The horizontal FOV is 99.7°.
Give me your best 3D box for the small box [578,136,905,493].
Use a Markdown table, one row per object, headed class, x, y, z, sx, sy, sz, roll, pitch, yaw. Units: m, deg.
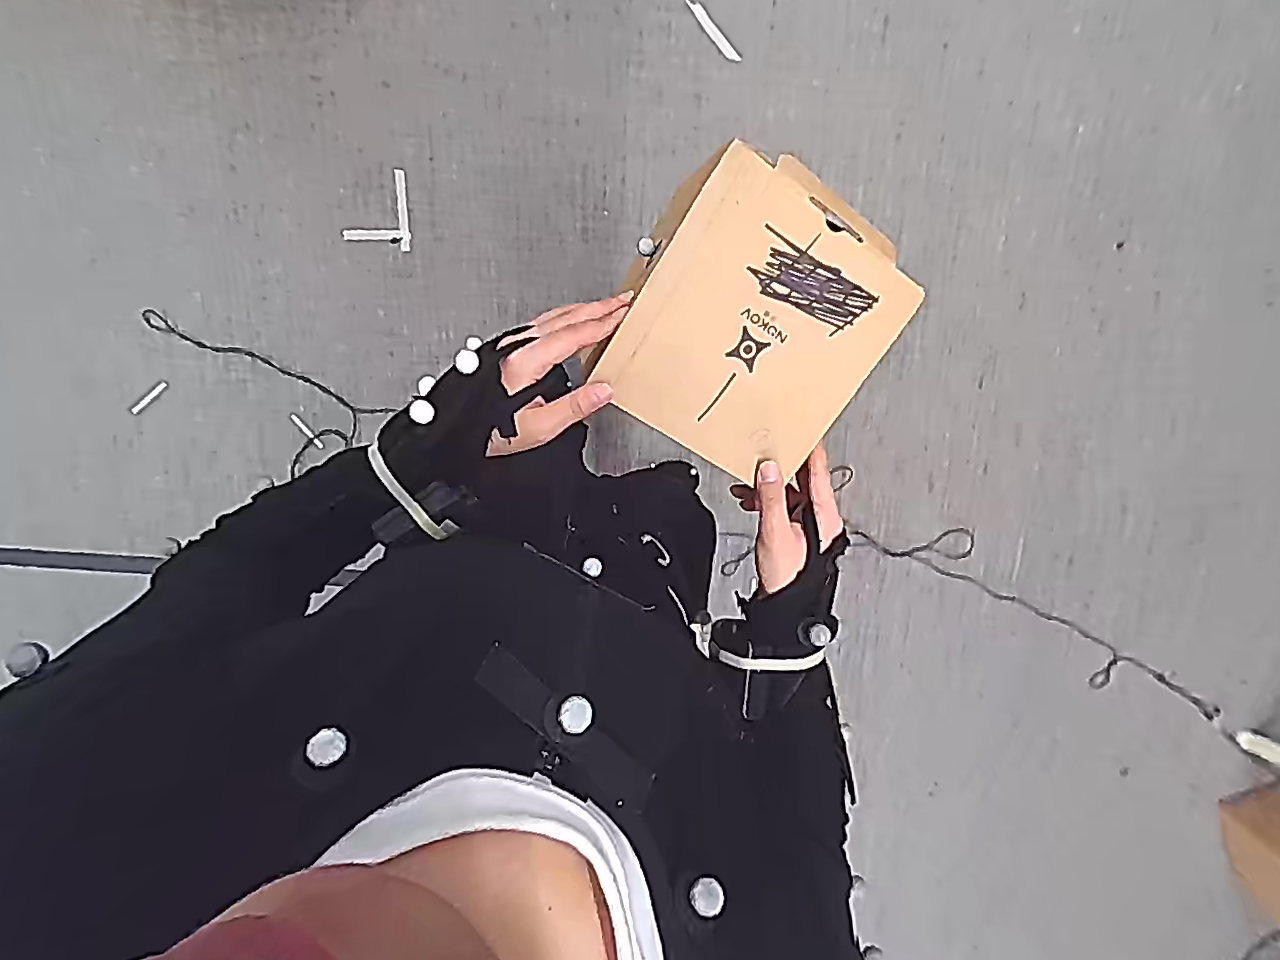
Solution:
| class | x | y | z | sx | sy | sz | roll | pitch | yaw |
| --- | --- | --- | --- | --- | --- | --- | --- | --- | --- |
| small box | 0.057 | -0.124 | 0.434 | 0.168 | 0.176 | 0.179 | 29 | 104 | -16 |
